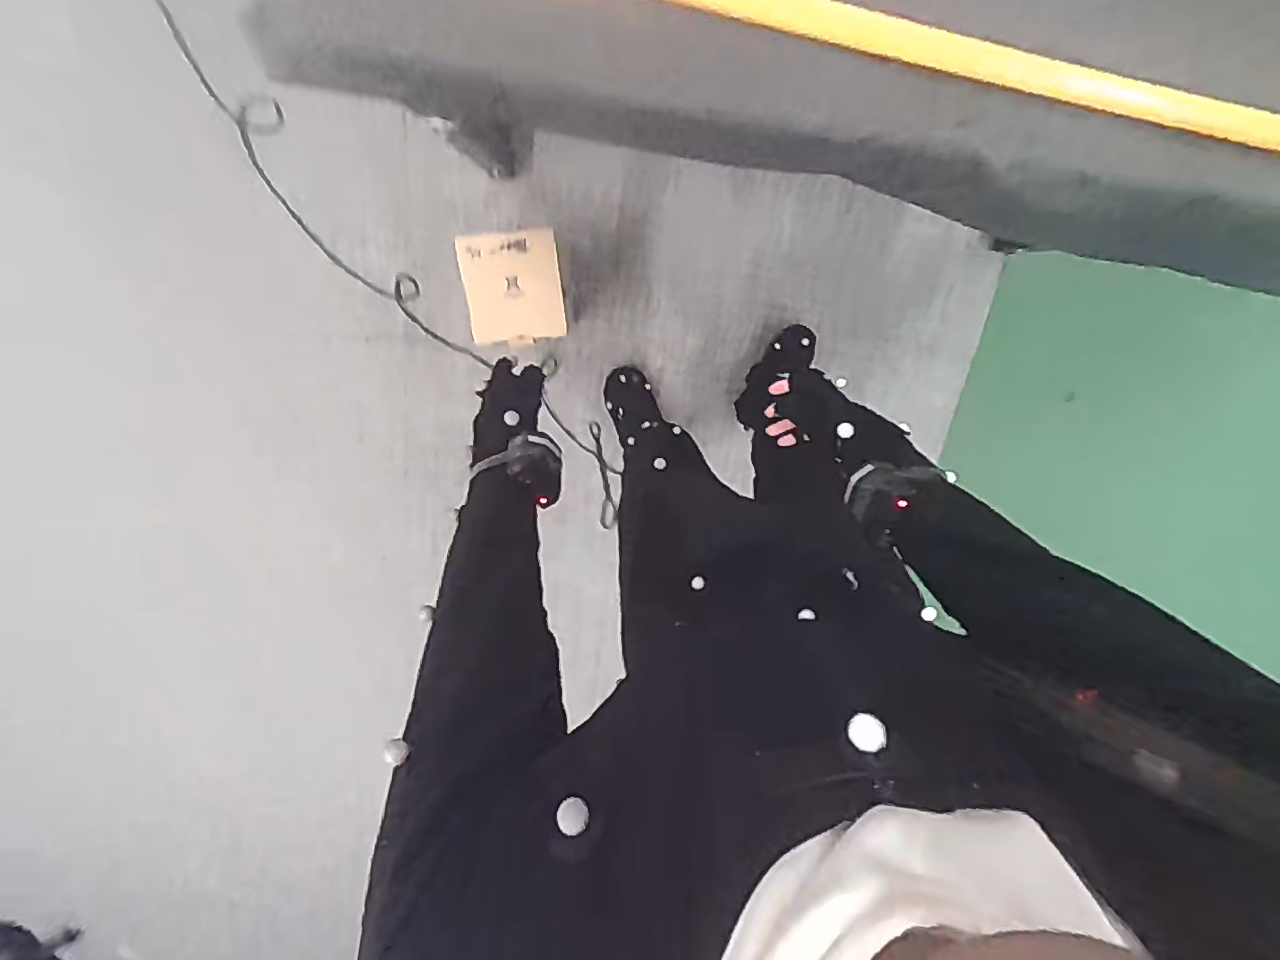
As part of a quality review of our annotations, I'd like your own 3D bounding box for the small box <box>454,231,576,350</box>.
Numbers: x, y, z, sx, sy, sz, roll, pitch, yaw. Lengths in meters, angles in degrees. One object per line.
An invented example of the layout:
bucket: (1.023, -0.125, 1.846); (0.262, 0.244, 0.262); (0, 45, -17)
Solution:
small box: (-0.218, -0.348, 0.996); (0.168, 0.176, 0.179); (-8, 110, 3)
